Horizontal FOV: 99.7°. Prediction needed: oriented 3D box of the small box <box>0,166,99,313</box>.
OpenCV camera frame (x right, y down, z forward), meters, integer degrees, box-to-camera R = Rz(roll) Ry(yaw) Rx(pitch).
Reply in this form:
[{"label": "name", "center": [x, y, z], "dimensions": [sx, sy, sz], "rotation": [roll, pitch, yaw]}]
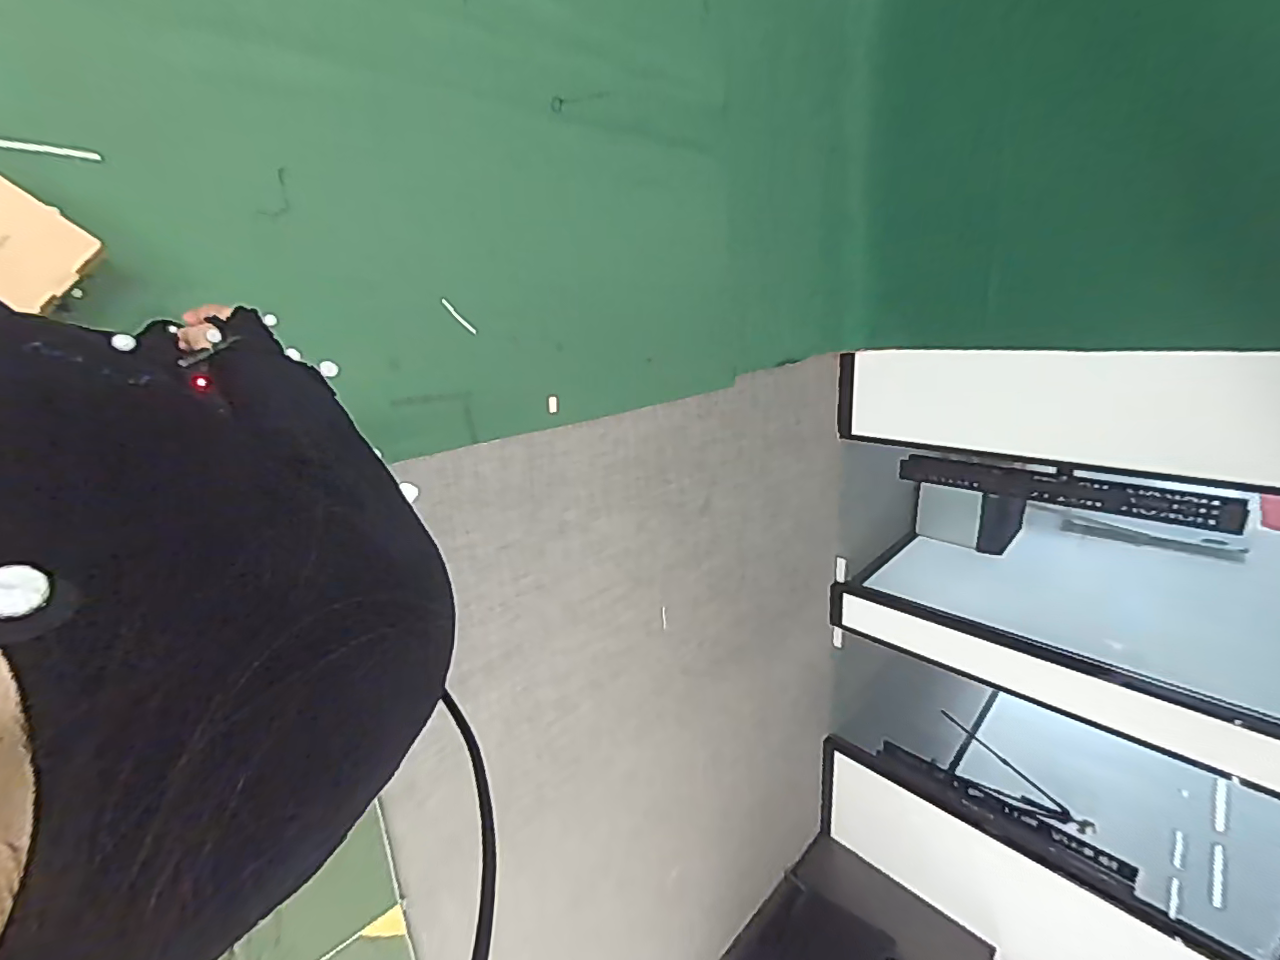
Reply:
[{"label": "small box", "center": [-0.971, -0.372, 0.808], "dimensions": [0.179, 0.176, 0.168], "rotation": [44, 70, -43]}]
